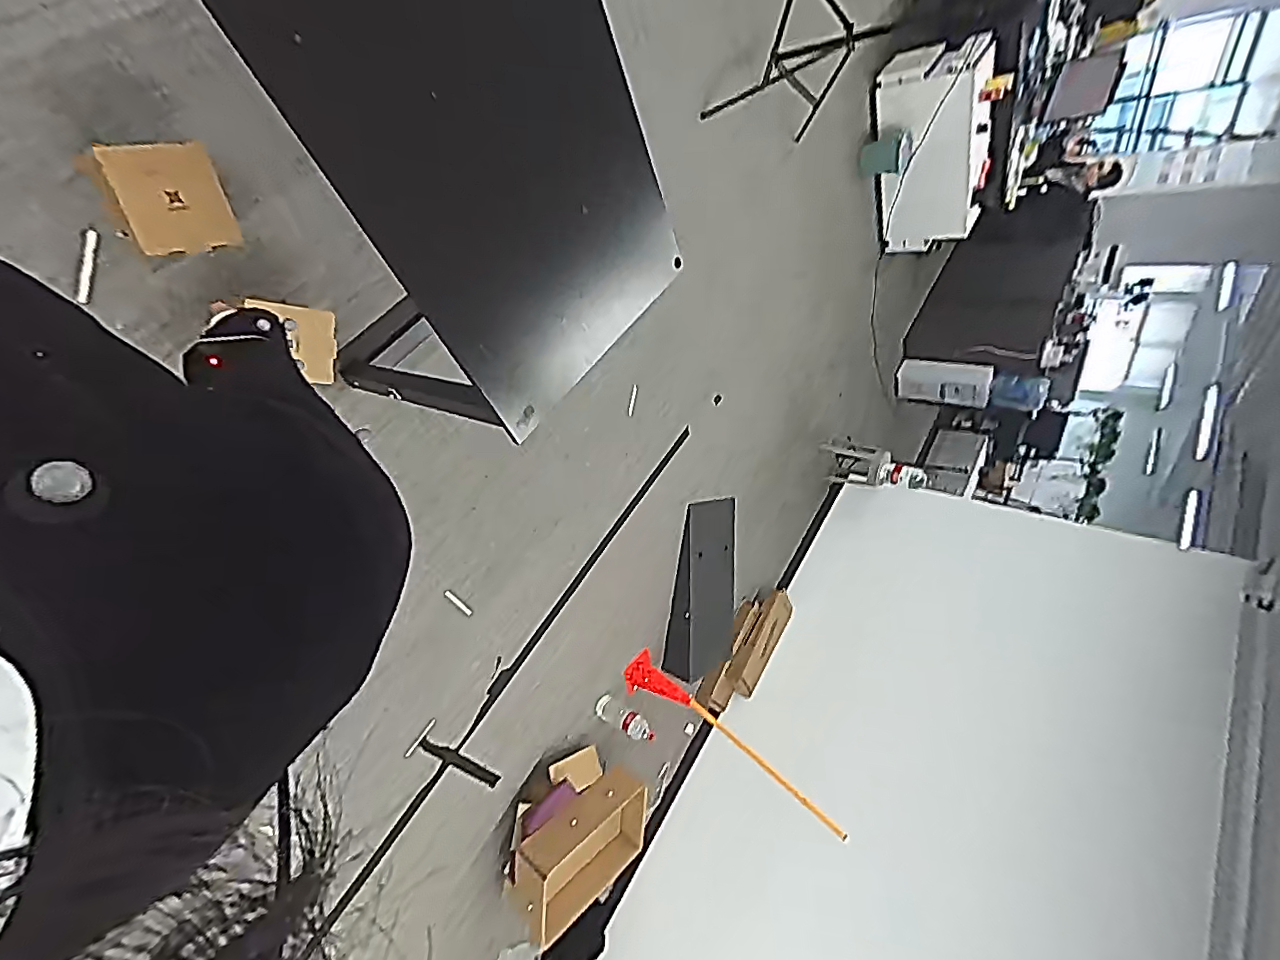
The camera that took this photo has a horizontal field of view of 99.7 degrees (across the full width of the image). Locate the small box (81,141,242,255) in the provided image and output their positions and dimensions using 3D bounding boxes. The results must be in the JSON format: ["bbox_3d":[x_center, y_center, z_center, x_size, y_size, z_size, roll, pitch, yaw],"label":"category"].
[{"bbox_3d":[-0.917,-0.537,1.040,0.168,0.176,0.179,-35,128,-40],"label":"small box"}]

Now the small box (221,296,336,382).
[{"bbox_3d":[-0.824,-0.322,1.233,0.179,0.176,0.168,-6,108,-50],"label":"small box"}]
